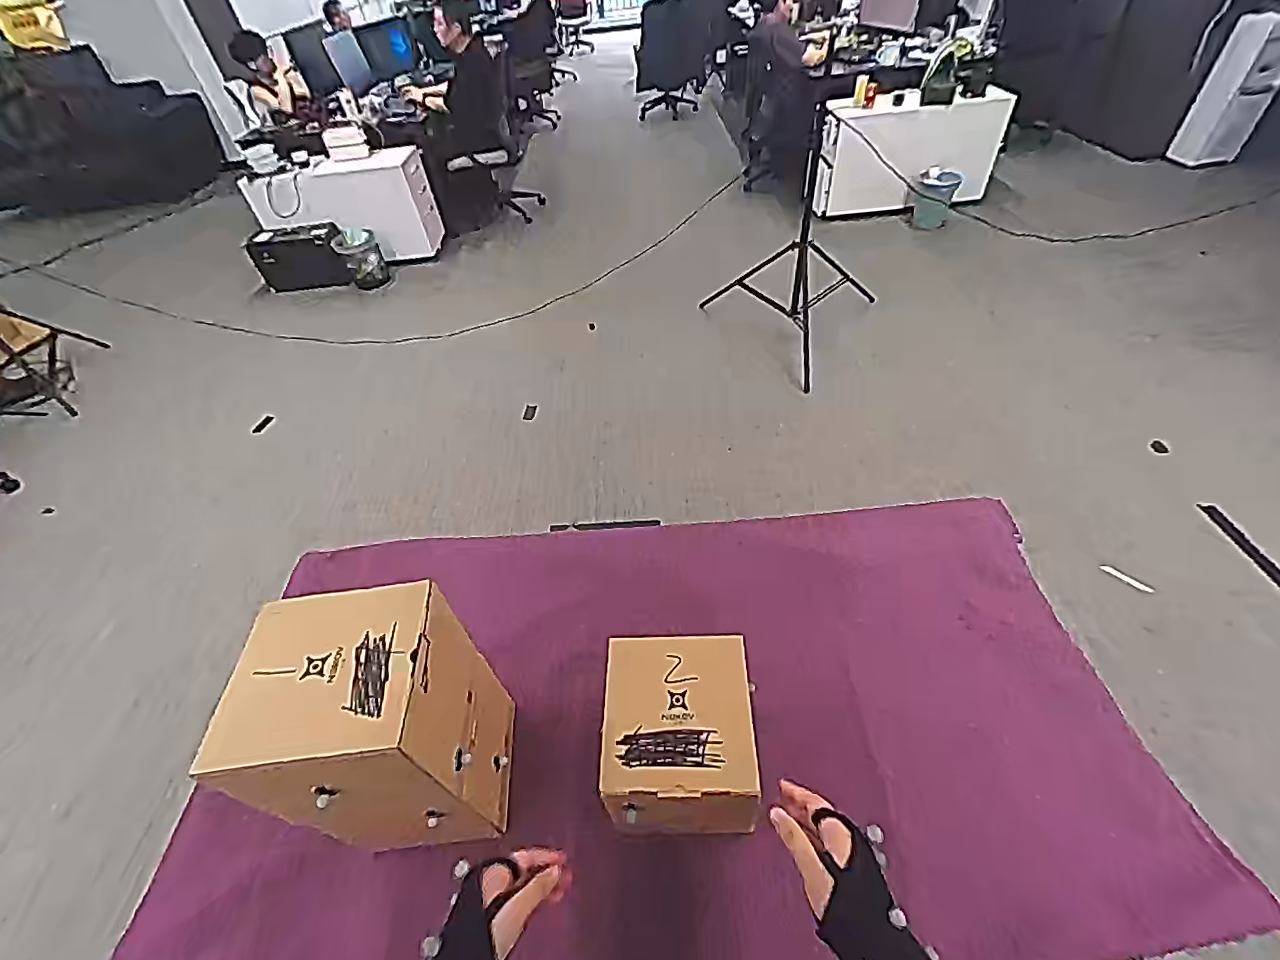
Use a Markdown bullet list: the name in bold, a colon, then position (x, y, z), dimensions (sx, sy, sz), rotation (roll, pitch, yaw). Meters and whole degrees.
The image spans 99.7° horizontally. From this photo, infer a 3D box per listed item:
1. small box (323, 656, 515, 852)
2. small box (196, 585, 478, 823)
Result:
- **small box**: position (-0.268, 0.343, 0.674), dimensions (0.179, 0.176, 0.168), rotation (-6, 45, -1)
- **small box**: position (-0.279, 0.231, 0.554), dimensions (0.179, 0.176, 0.168), rotation (-7, 45, -1)
